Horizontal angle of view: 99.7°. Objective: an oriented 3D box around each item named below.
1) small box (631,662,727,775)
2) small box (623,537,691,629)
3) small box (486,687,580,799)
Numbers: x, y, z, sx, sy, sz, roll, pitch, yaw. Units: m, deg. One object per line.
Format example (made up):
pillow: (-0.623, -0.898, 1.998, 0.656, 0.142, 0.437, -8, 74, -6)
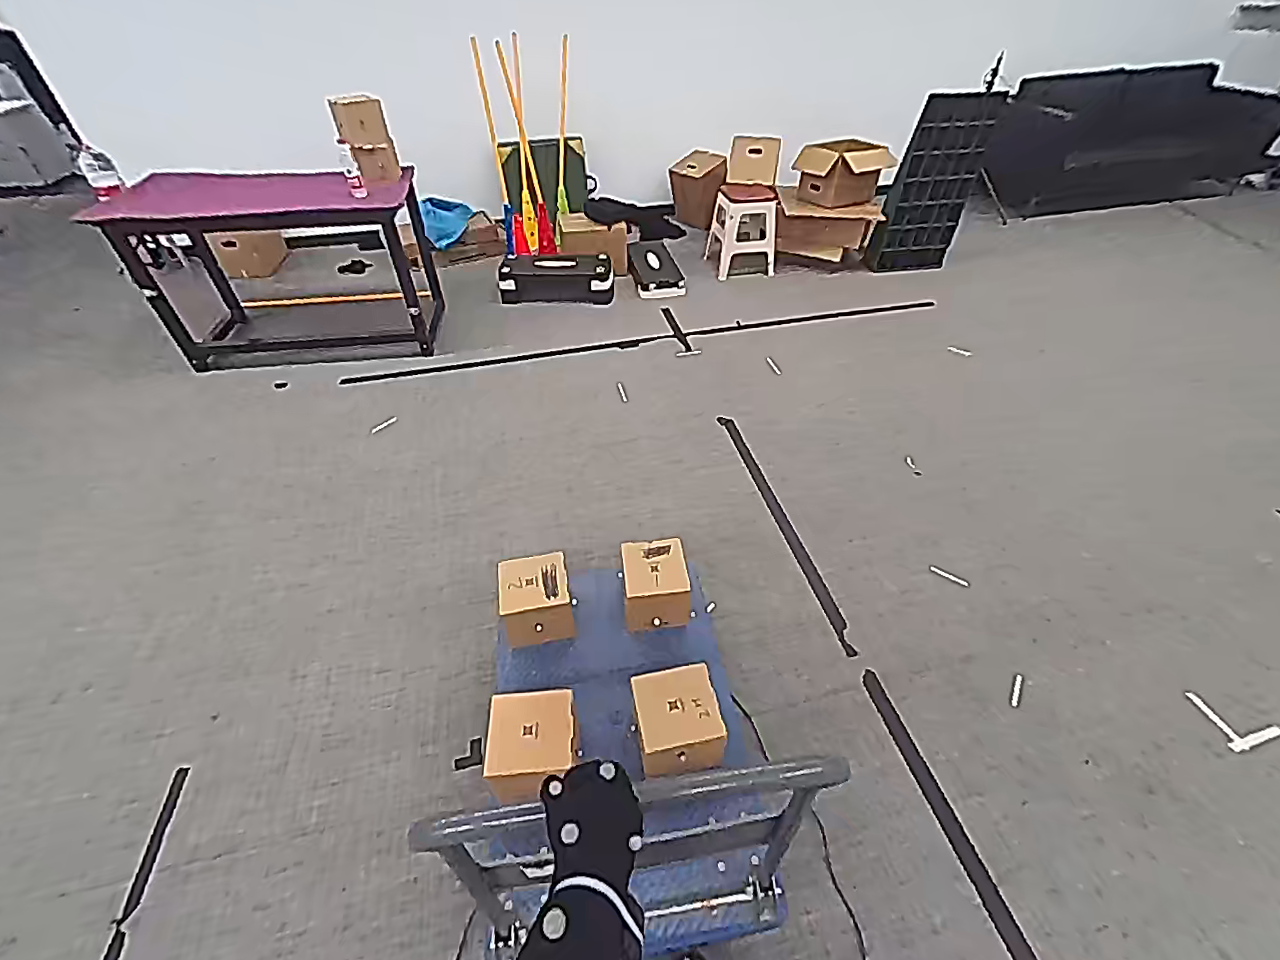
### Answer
small box: (0.082, 0.535, 1.207, 0.179, 0.176, 0.168, -8, 44, -8)
small box: (0.040, 0.280, 1.473, 0.168, 0.176, 0.179, -5, 45, -5)
small box: (-0.223, 0.573, 1.172, 0.179, 0.176, 0.168, -3, 43, -5)
